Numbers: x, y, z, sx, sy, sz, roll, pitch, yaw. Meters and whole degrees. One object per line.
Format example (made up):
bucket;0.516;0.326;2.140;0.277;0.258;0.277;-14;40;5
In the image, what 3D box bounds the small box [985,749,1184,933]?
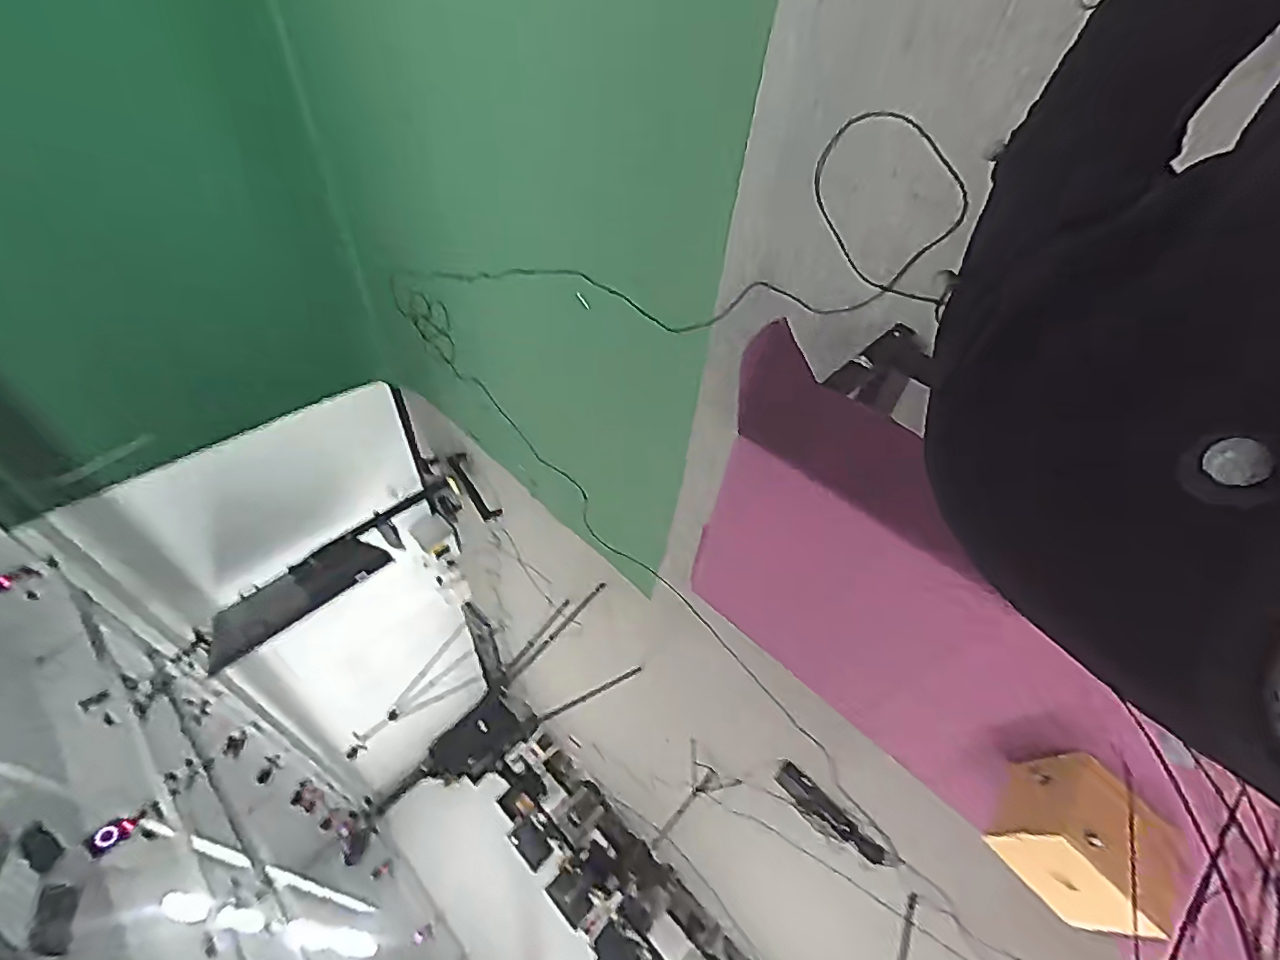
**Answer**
small box;0.728;0.582;0.888;0.179;0.176;0.168;45;146;16
